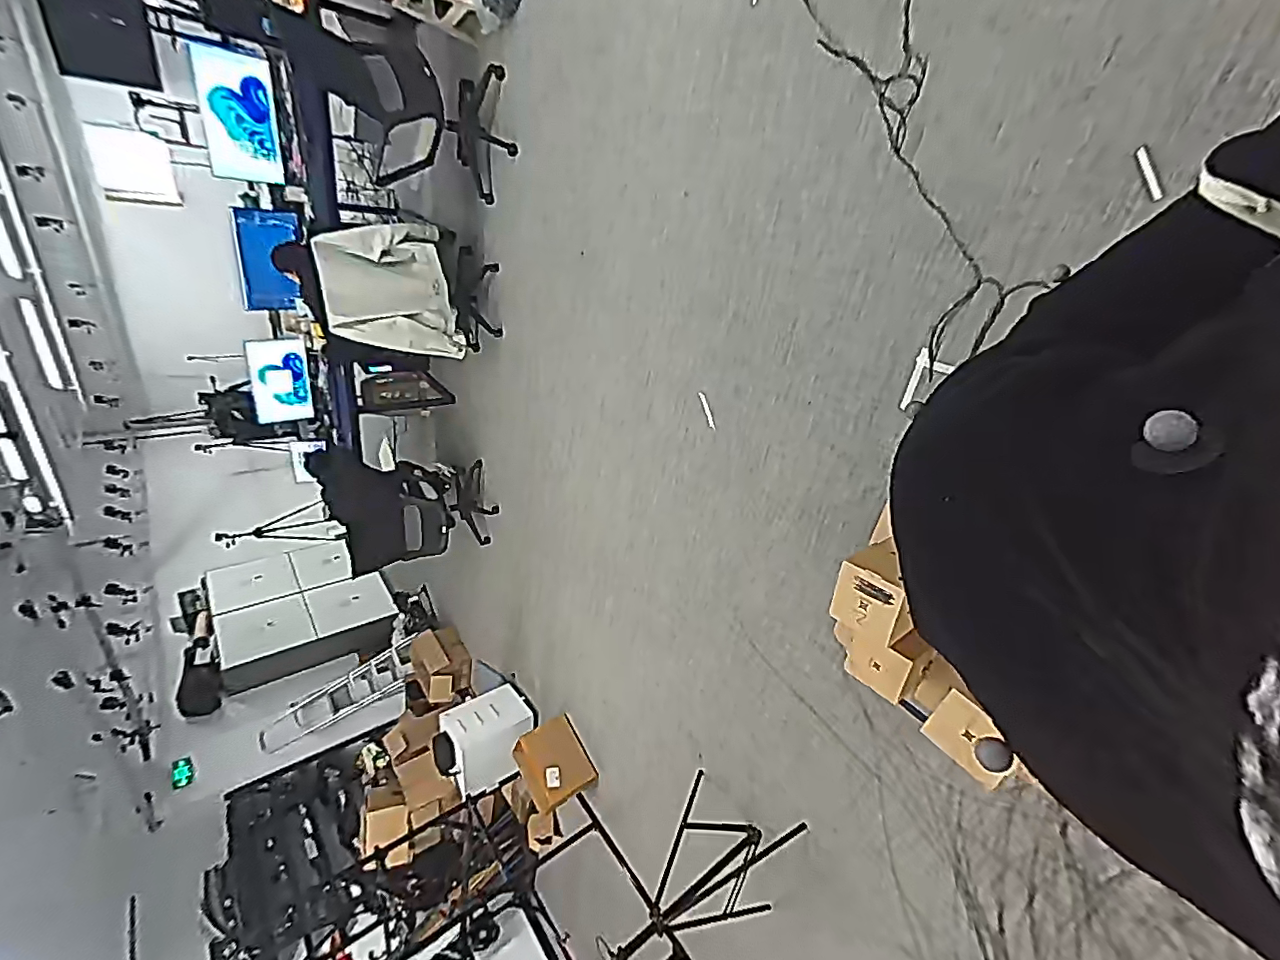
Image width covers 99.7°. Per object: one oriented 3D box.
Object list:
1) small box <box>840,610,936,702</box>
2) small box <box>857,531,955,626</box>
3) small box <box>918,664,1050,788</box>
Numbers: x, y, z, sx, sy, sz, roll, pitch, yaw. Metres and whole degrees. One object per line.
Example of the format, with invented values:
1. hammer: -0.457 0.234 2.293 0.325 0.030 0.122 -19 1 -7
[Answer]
1. small box: 0.727 0.506 1.589 0.179 0.176 0.168 31 125 42
2. small box: 0.738 0.262 1.493 0.168 0.176 0.179 32 125 42
3. small box: 0.792 0.554 1.249 0.179 0.176 0.168 40 130 36
